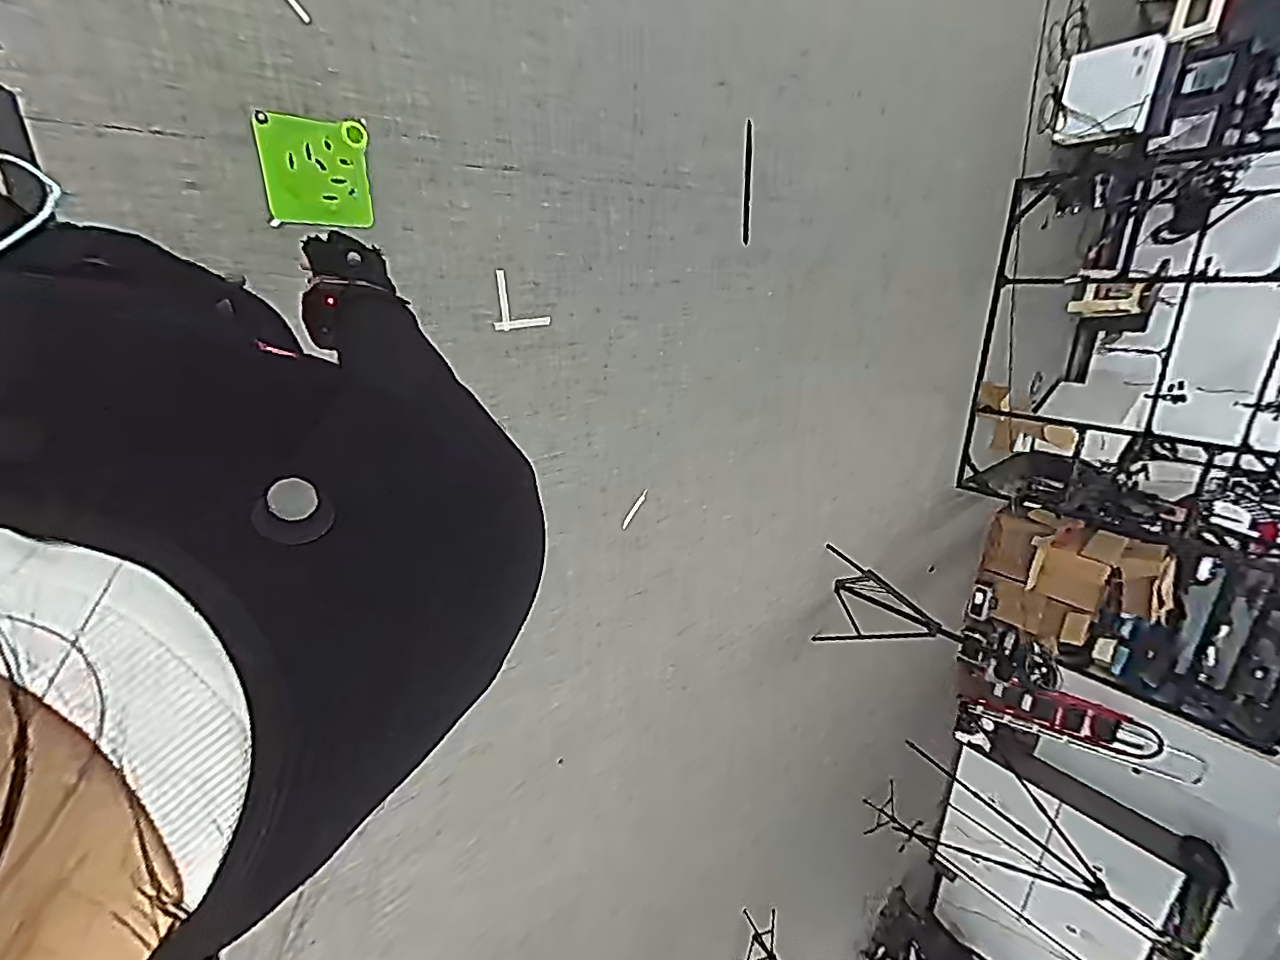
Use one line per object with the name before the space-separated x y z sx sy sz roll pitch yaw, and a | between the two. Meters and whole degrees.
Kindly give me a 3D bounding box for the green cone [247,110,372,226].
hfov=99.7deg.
green cone | -0.582 -0.608 1.017 0.202 0.368 0.200 -16 115 -37
